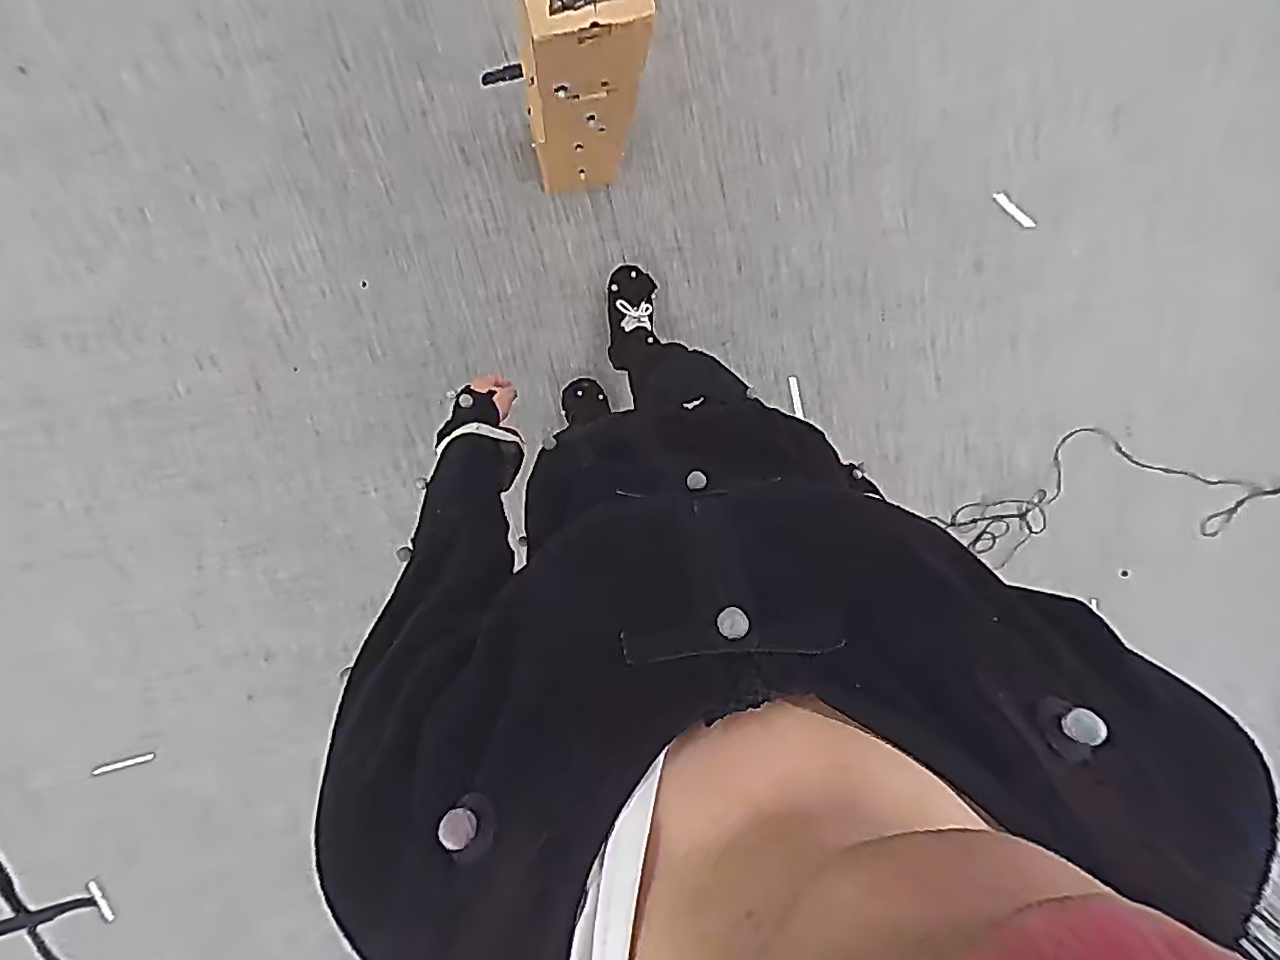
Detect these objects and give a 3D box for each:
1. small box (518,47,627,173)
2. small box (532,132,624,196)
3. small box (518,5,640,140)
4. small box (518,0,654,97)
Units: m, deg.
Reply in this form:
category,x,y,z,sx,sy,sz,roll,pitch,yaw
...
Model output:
category,x,y,z,sx,sy,sz,roll,pitch,yaw
small box,-0.131,-0.730,1.070,0.179,0.176,0.168,-12,104,-5
small box,-0.146,-0.769,1.229,0.179,0.176,0.168,-14,104,-4
small box,-0.102,-0.700,0.911,0.168,0.176,0.179,-13,104,-5
small box,-0.084,-0.668,0.751,0.168,0.176,0.179,-13,102,-4
